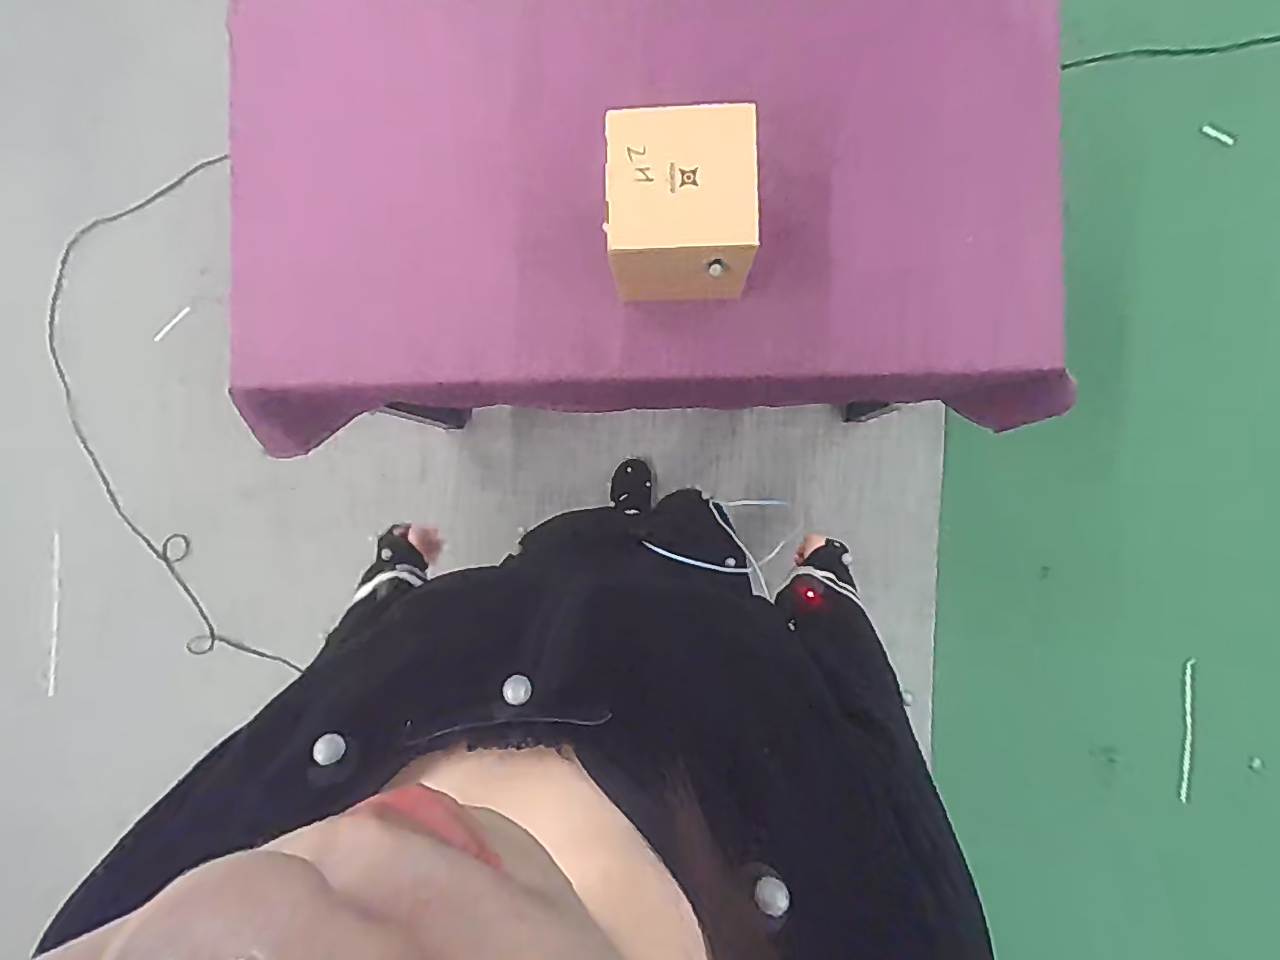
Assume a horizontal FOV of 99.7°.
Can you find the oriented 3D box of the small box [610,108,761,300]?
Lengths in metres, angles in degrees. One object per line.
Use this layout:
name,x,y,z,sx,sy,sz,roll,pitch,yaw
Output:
small box,0.055,-0.343,0.702,0.179,0.176,0.168,-1,89,3
